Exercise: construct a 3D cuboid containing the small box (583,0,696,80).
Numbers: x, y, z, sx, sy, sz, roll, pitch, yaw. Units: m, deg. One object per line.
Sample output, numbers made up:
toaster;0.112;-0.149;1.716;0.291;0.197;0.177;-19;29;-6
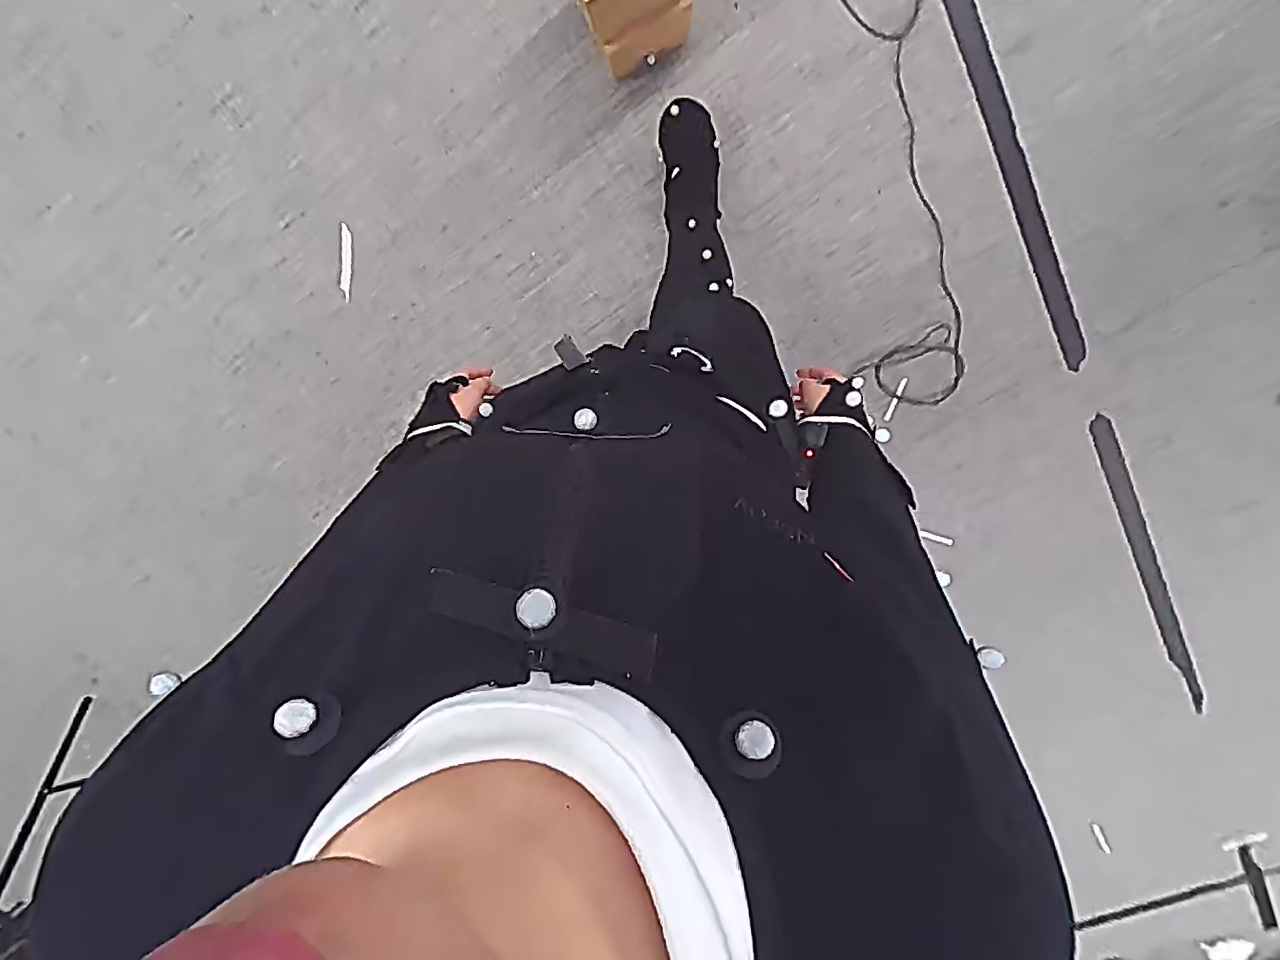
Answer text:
small box;-0.013;-0.863;0.958;0.168;0.176;0.179;-23;110;12
